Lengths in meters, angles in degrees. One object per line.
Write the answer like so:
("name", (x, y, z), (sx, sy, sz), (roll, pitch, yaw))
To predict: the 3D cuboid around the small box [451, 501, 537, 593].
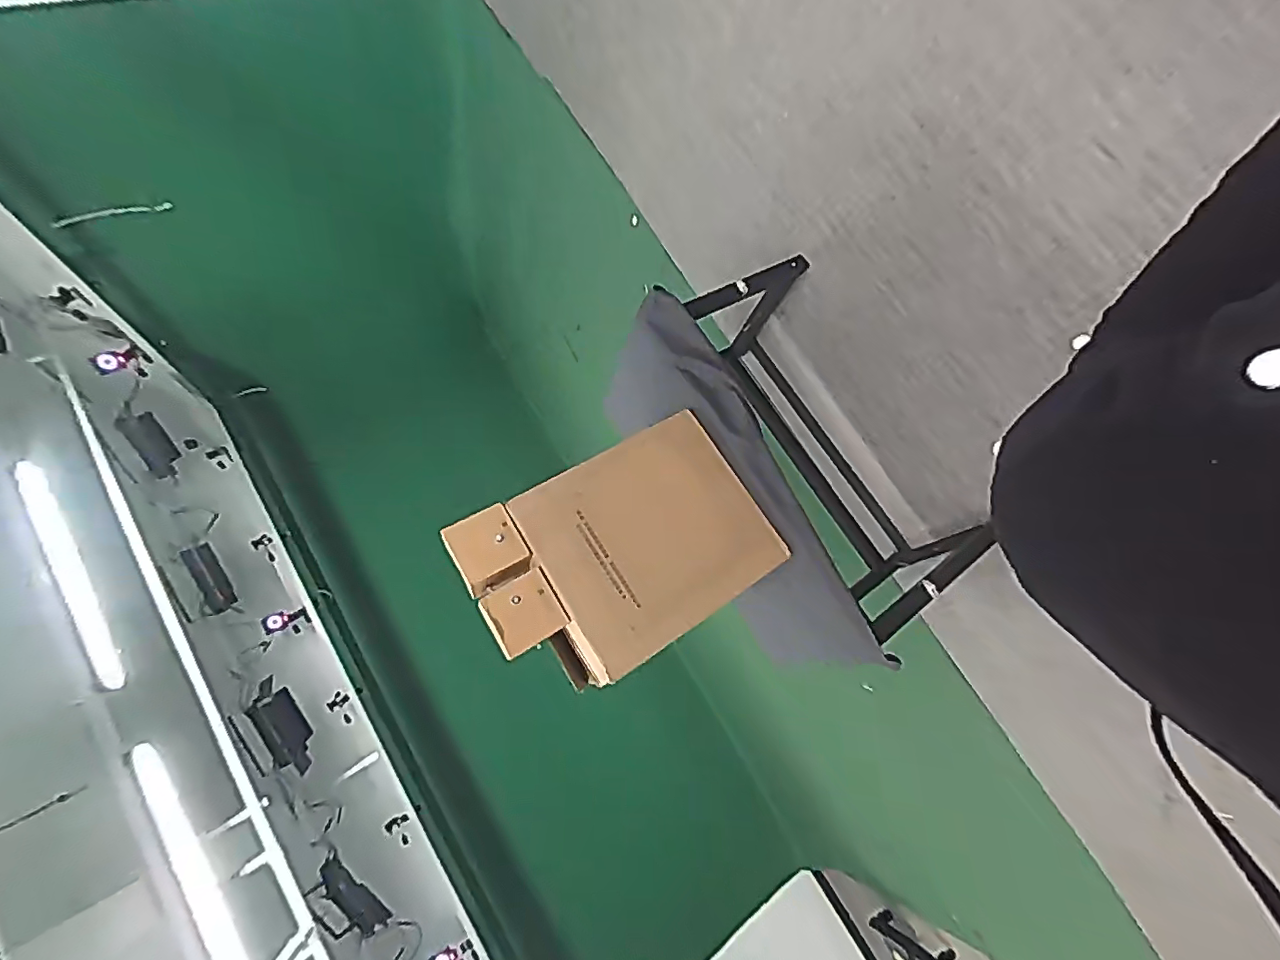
("small box", (-0.390, 0.183, 1.466), (0.168, 0.176, 0.179), (57, 157, 13))
